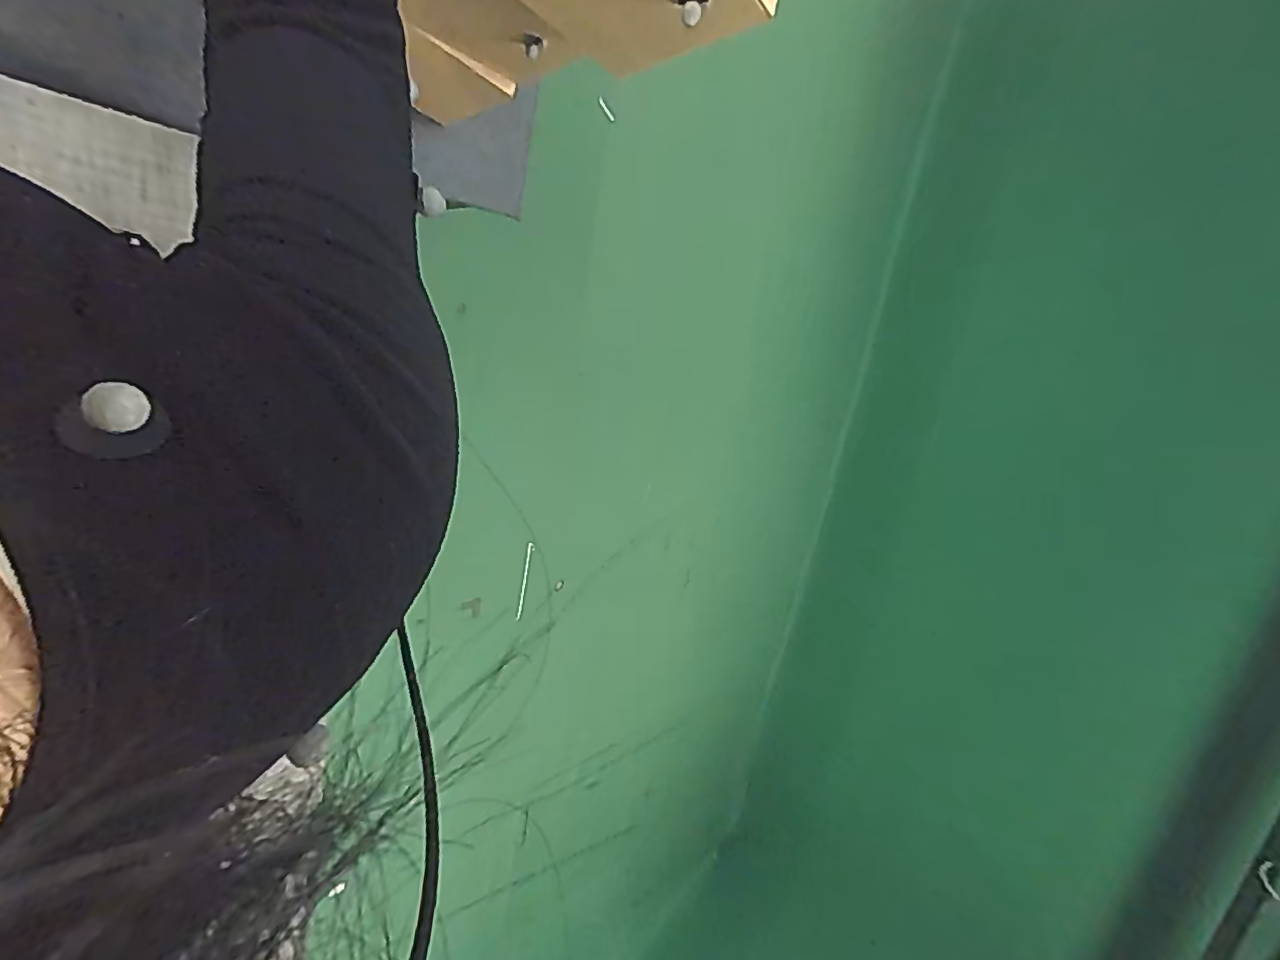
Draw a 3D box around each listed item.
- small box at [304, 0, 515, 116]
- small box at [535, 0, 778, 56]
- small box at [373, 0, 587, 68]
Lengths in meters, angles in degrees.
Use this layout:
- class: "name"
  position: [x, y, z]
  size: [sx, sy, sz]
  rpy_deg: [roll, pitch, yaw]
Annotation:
- class: "small box"
  position: [-0.235, -0.533, 0.575]
  size: [0.168, 0.176, 0.179]
  rpy_deg: [6, 101, -48]
- class: "small box"
  position: [-0.004, -0.431, 0.365]
  size: [0.179, 0.176, 0.168]
  rpy_deg: [1, 102, -47]
- class: "small box"
  position: [-0.127, -0.492, 0.460]
  size: [0.179, 0.176, 0.168]
  rpy_deg: [-5, 107, -45]
